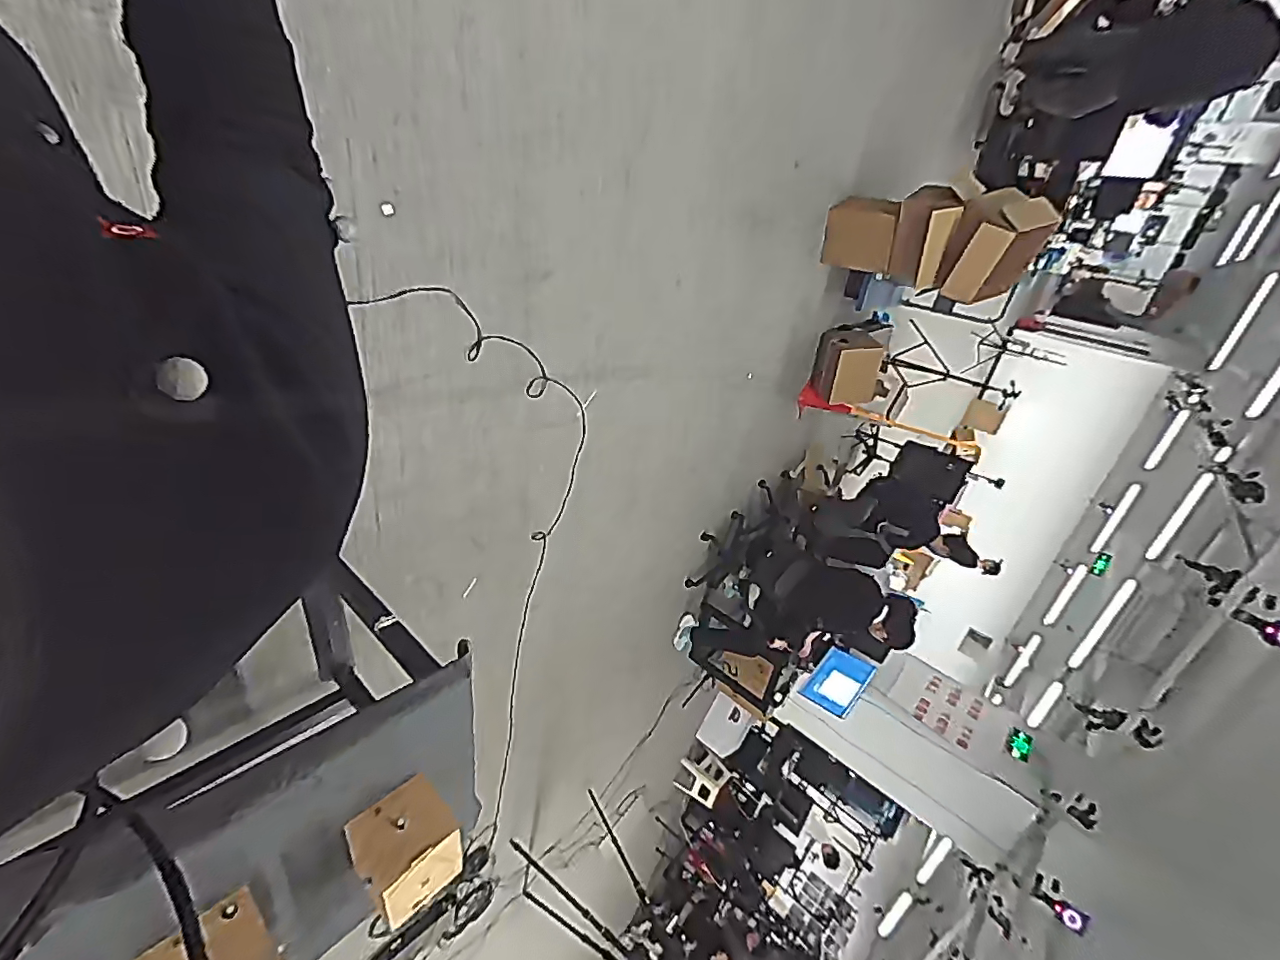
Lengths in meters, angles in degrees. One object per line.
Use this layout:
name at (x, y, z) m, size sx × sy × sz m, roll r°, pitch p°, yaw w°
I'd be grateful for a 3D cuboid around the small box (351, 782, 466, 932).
small box at (-0.492, 0.788, 1.153) m, size 0.168 × 0.176 × 0.179 m, roll -24°, pitch 131°, yaw -43°

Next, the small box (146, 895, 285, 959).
small box at (-0.708, 0.858, 0.912) m, size 0.168 × 0.176 × 0.179 m, roll -21°, pitch 131°, yaw -45°
